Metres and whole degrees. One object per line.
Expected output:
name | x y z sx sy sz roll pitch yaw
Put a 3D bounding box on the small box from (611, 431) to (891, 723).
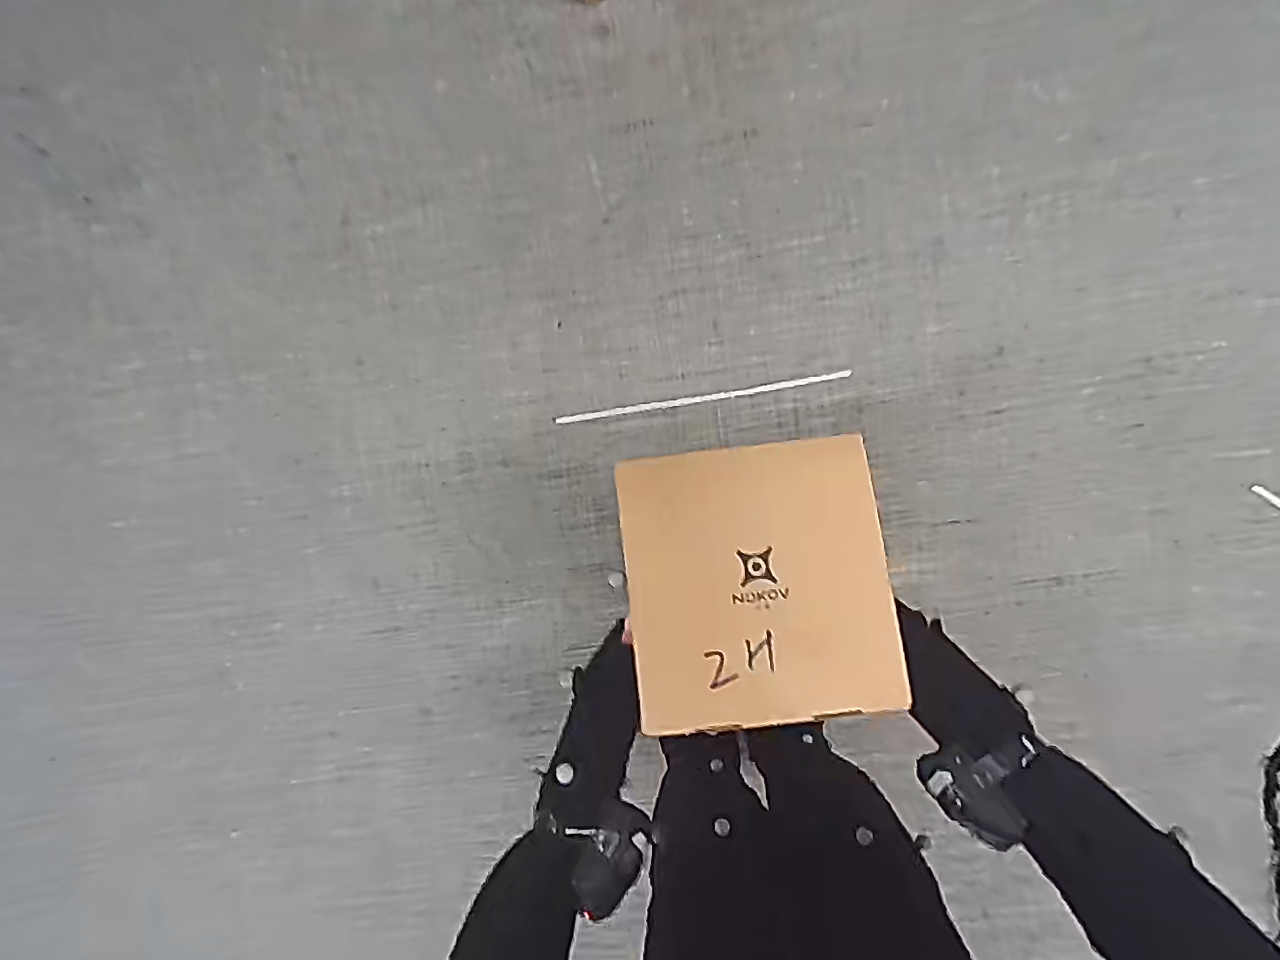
small box | 0.071 0.072 0.430 0.168 0.176 0.179 -7 82 2
